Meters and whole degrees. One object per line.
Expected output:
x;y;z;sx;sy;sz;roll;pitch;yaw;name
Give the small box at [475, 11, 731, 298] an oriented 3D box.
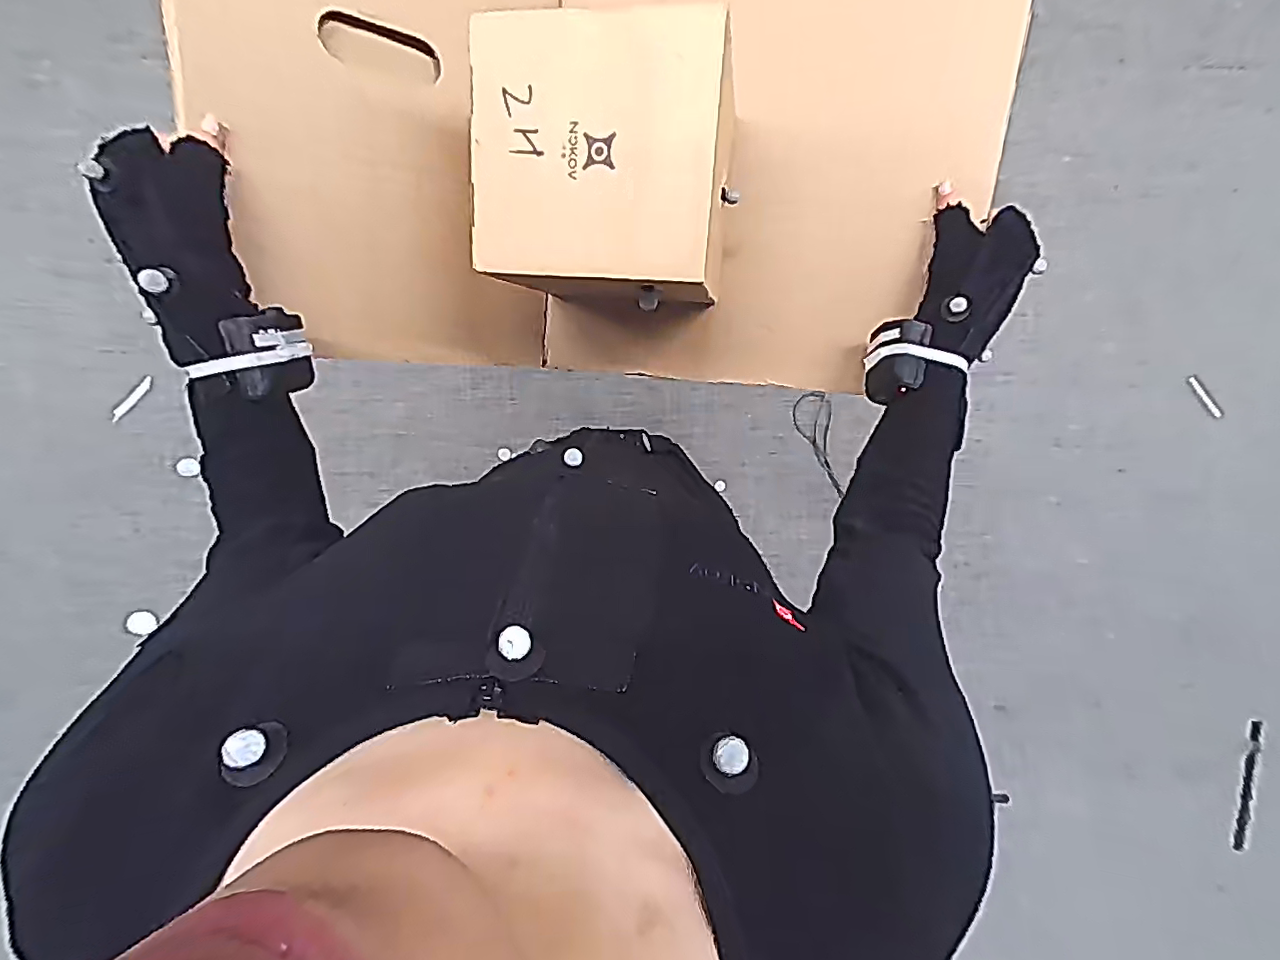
-0.019;-0.249;0.454;0.179;0.176;0.168;7;104;10;small box
